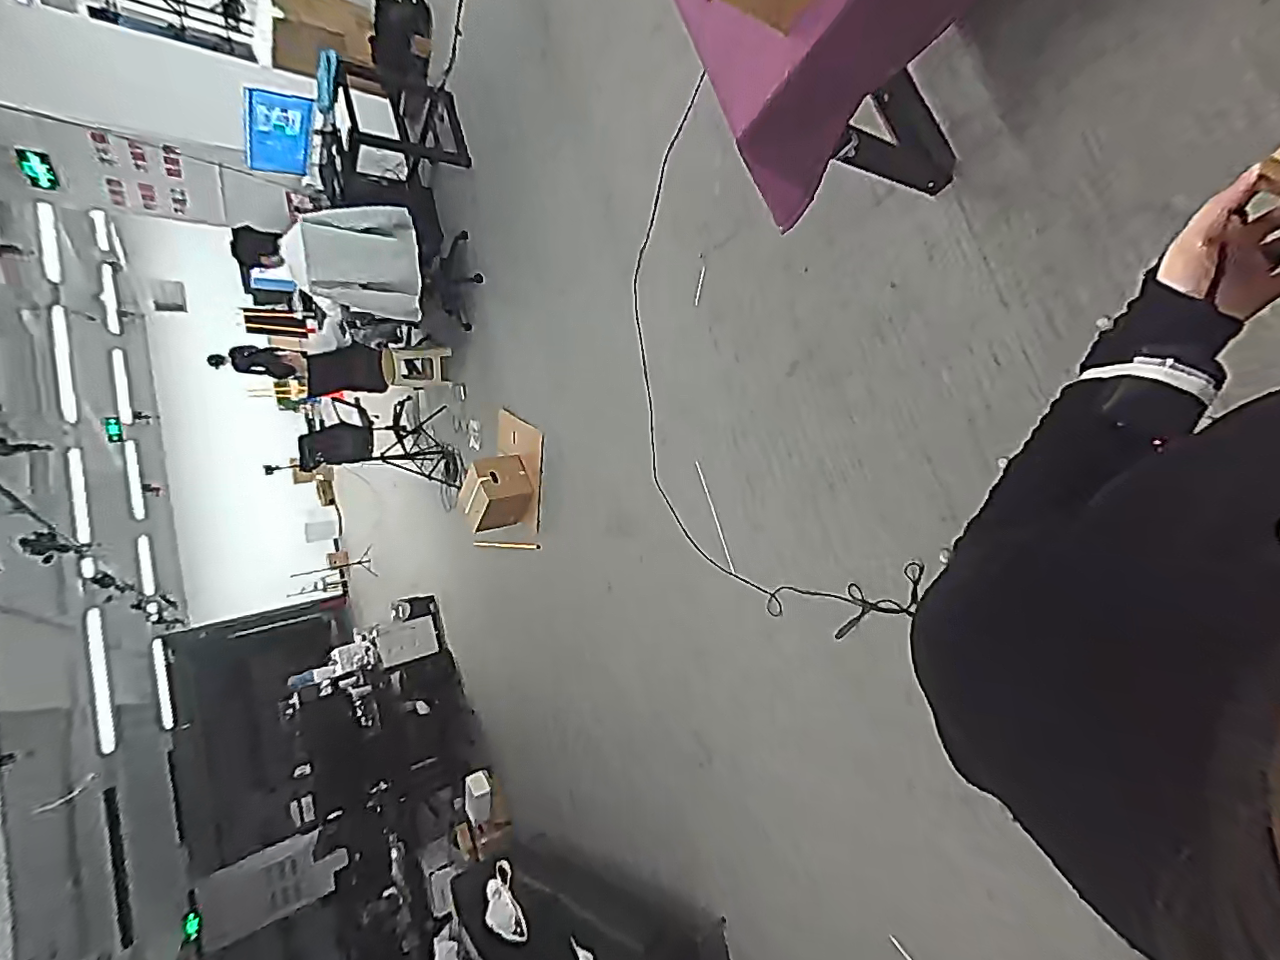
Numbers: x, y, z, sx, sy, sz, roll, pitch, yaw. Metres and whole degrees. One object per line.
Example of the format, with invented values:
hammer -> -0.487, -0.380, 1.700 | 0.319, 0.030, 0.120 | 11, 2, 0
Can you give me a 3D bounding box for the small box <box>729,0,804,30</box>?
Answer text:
small box -> 0.187, -0.819, 0.787 | 0.179, 0.176, 0.168 | -32, 72, 50
